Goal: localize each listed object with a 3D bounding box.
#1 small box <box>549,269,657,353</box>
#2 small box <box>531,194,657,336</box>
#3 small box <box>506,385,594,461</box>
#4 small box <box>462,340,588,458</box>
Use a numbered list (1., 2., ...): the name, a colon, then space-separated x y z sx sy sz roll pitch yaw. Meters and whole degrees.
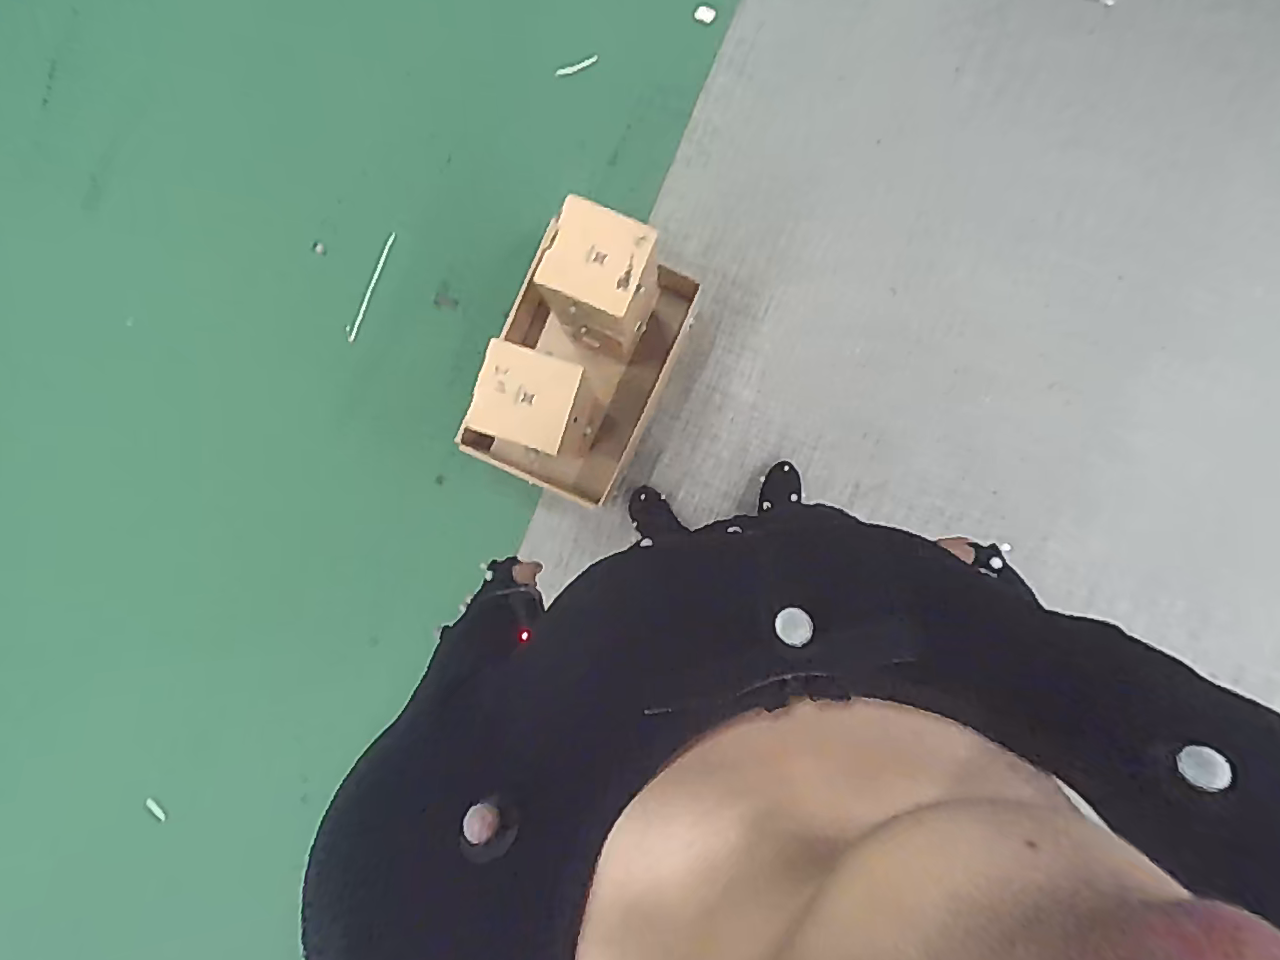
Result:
1. small box: -0.077 -0.395 1.183 0.179 0.176 0.168 25 92 -2
2. small box: -0.079 -0.391 1.017 0.179 0.176 0.168 23 91 1
3. small box: -0.210 -0.141 1.185 0.179 0.176 0.168 17 90 -2
4. small box: -0.206 -0.143 1.021 0.179 0.176 0.168 18 89 -1
